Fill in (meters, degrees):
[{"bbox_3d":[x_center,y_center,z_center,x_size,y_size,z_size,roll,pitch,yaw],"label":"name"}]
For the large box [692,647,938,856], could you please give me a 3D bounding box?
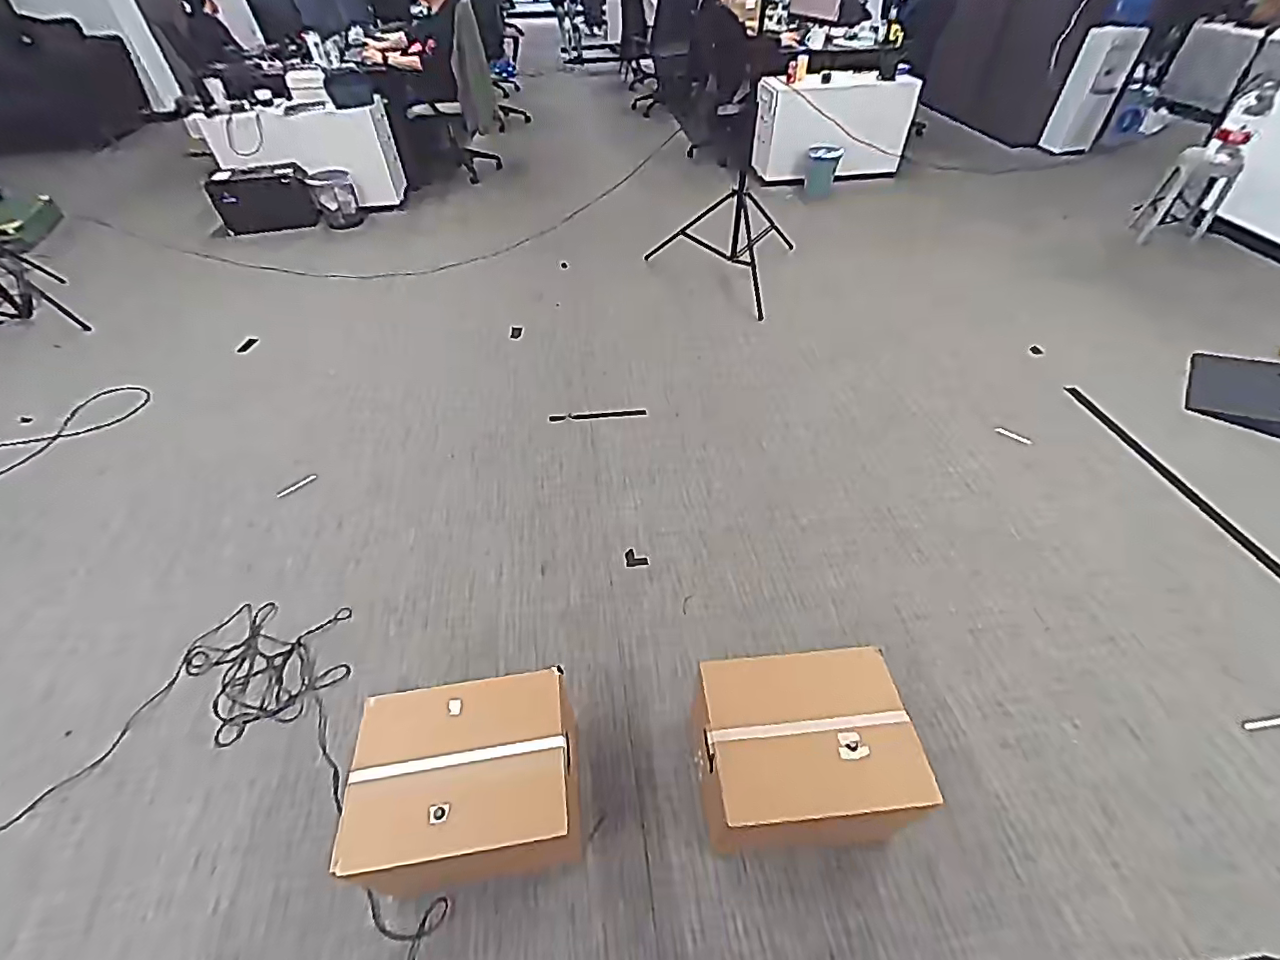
[{"bbox_3d":[0.345,0.600,1.199,0.408,0.320,0.320,-4,47,-3],"label":"large box"}]
